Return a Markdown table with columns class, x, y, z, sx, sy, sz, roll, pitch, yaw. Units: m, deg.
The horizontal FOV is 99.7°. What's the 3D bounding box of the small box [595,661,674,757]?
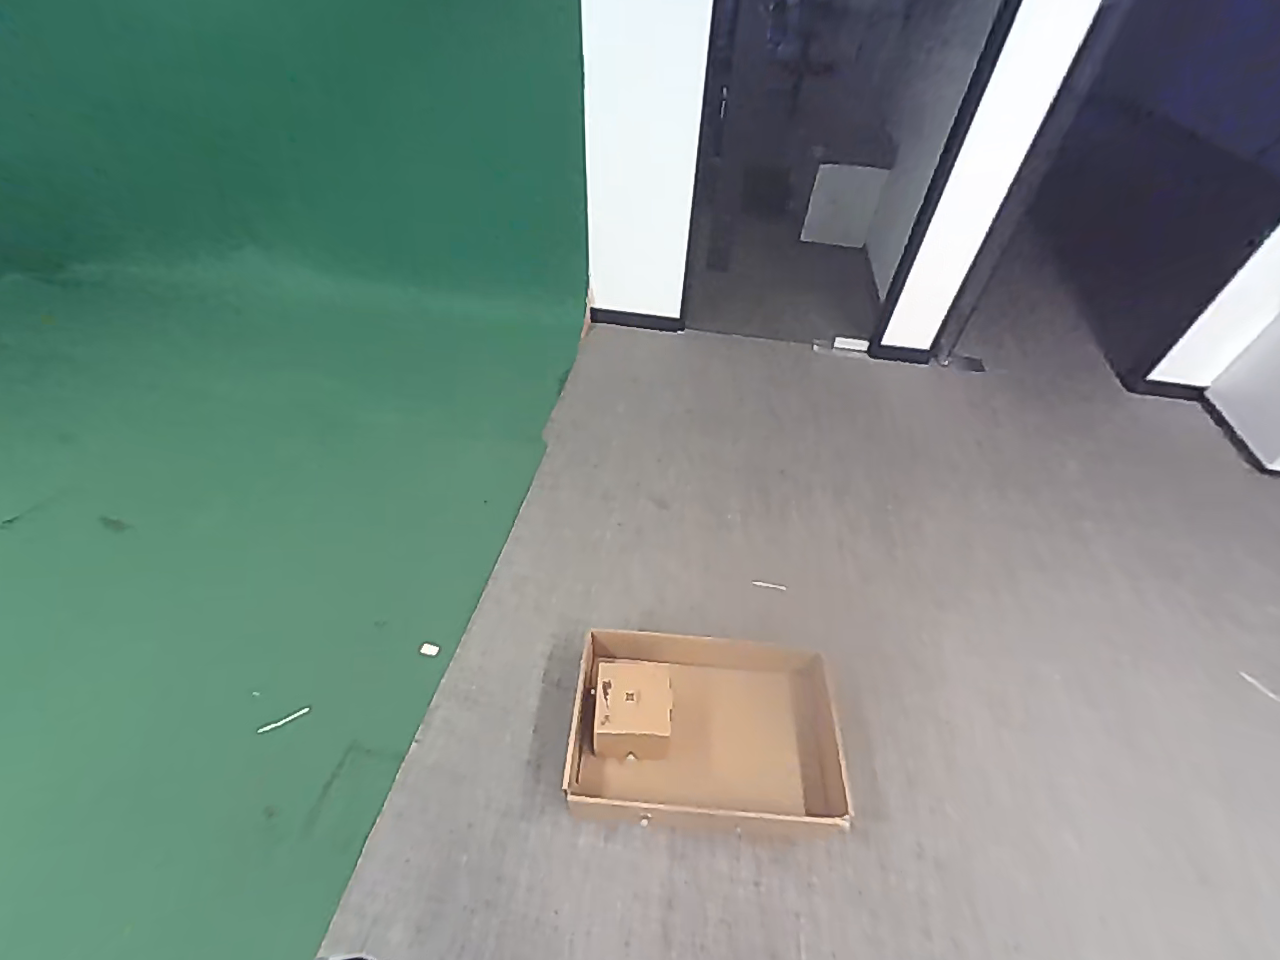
| class | x | y | z | sx | sy | sz | roll | pitch | yaw |
| --- | --- | --- | --- | --- | --- | --- | --- | --- | --- |
| small box | -0.015 | 0.561 | 1.317 | 0.179 | 0.176 | 0.168 | 3 | 46 | -2 |
